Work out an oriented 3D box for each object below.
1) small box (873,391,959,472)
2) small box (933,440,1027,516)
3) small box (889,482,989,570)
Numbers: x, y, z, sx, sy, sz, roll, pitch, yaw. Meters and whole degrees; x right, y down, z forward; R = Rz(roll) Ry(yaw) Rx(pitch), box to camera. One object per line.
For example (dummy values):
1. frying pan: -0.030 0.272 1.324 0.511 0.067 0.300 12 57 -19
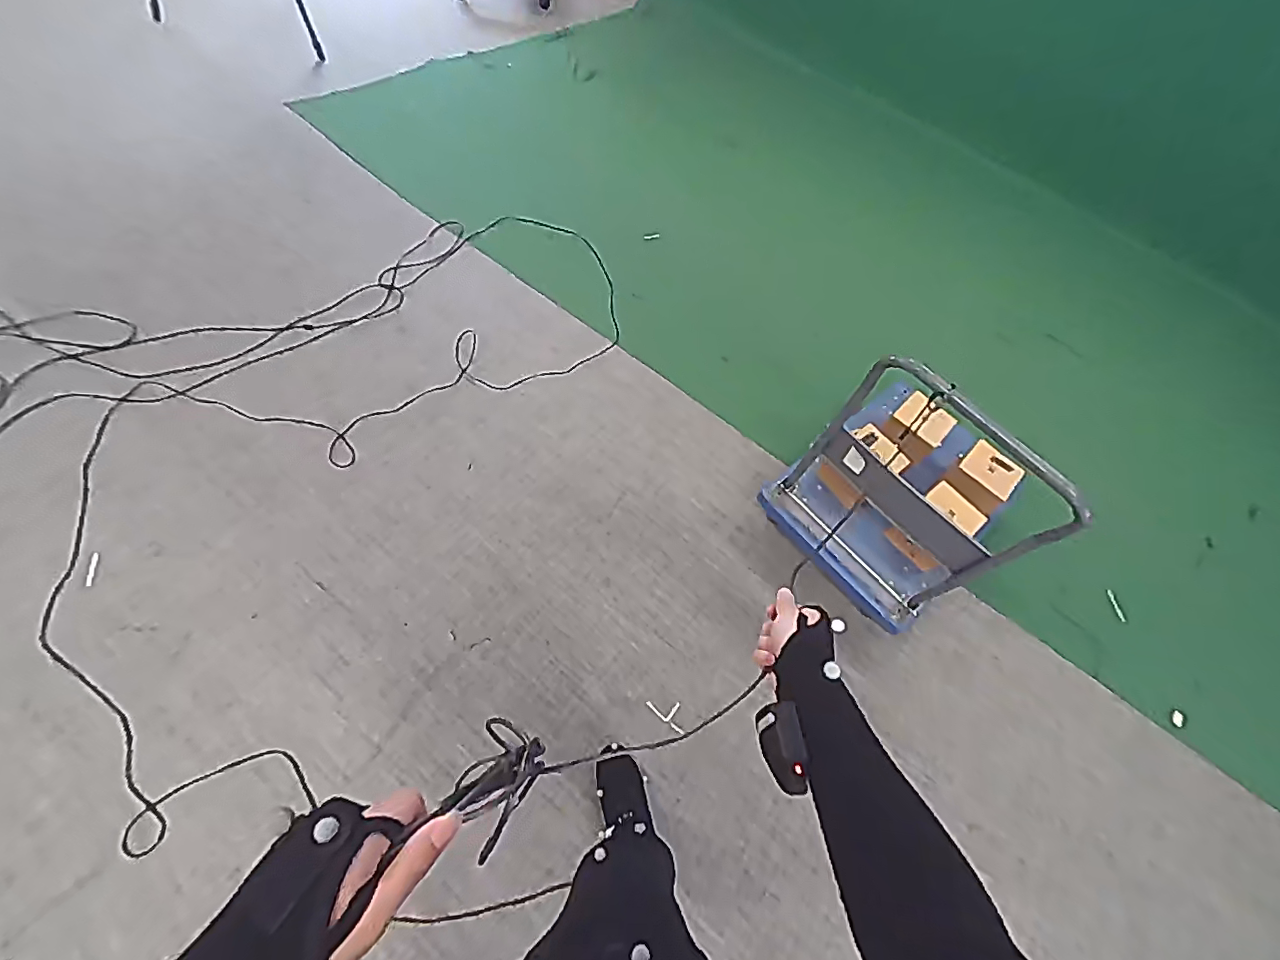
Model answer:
1. small box: 0.923 -0.159 1.826 0.179 0.176 0.168 -38 73 -28
2. small box: 1.099 0.008 1.759 0.179 0.176 0.168 -38 71 -27
3. small box: 0.898 0.142 1.638 0.179 0.176 0.168 -33 70 -26
